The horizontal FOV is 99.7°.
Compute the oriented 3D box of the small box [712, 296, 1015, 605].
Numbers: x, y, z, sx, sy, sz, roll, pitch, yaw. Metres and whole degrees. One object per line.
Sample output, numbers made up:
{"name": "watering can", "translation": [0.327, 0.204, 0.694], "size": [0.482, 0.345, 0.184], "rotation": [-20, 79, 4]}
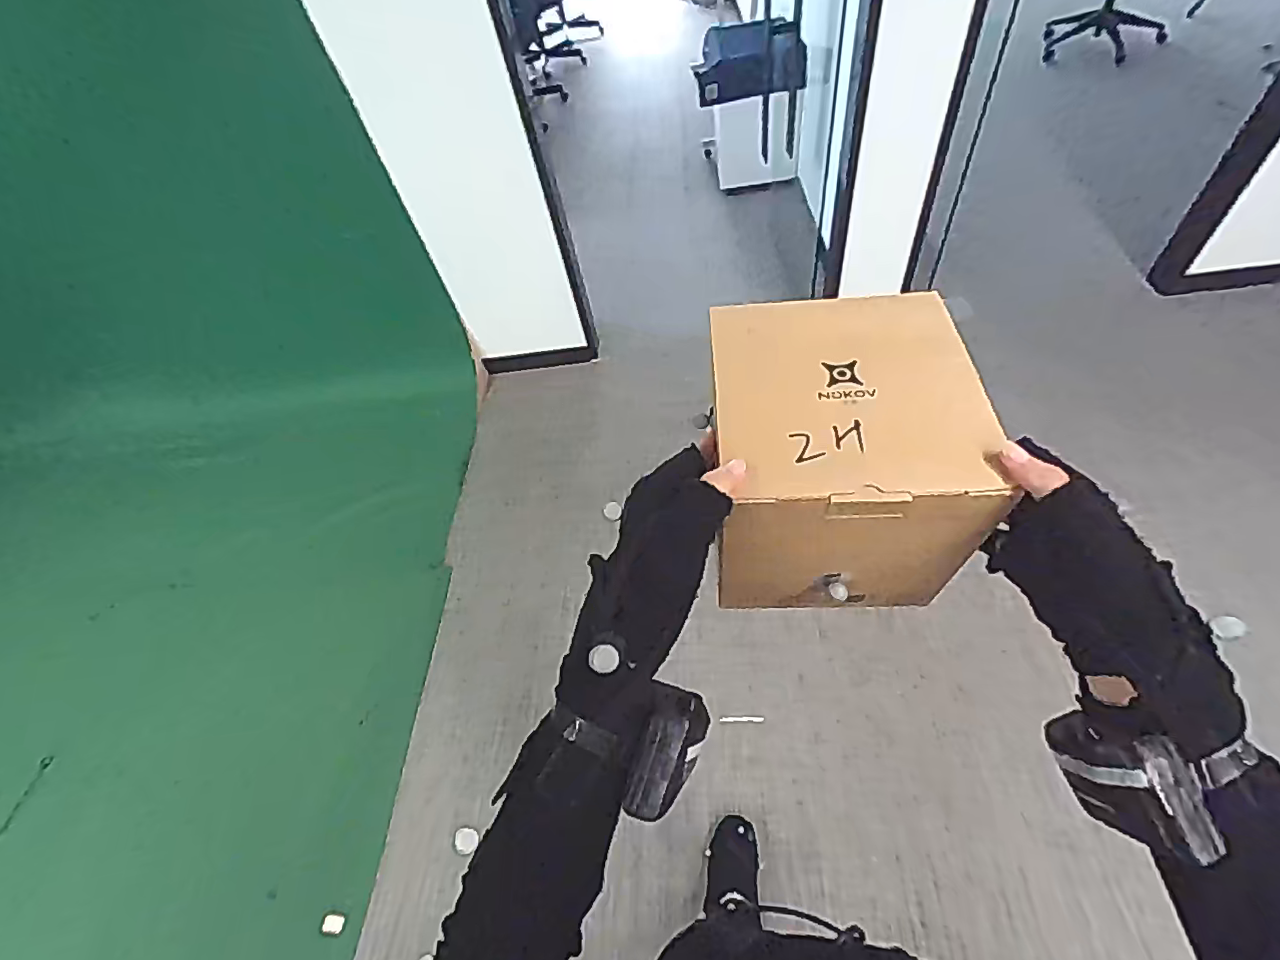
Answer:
{"name": "small box", "translation": [0.141, -0.017, 0.423], "size": [0.168, 0.176, 0.179], "rotation": [-2, 56, 7]}
